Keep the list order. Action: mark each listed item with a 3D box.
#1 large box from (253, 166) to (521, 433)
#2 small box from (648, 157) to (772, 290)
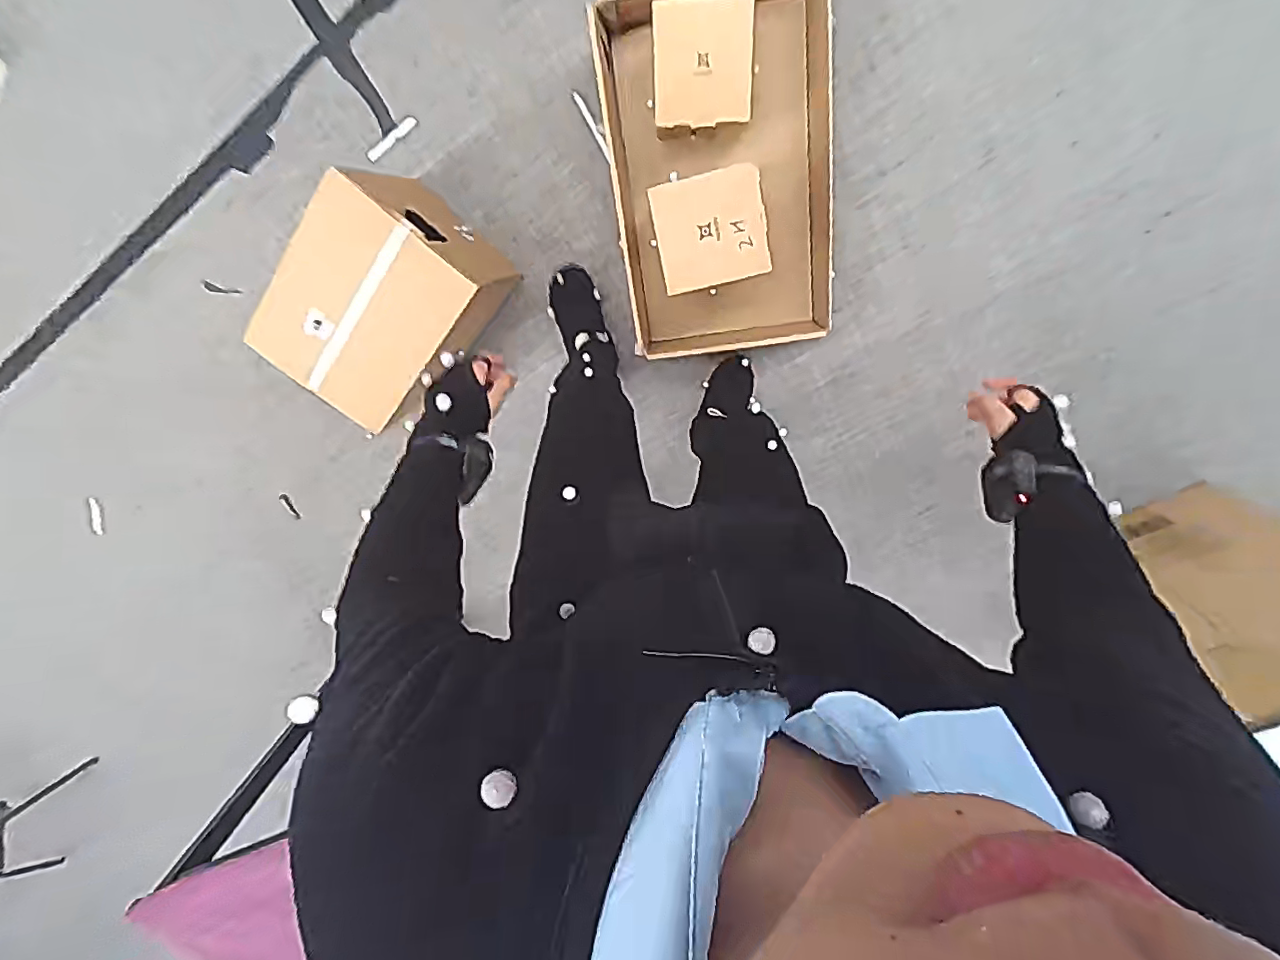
[{"bbox_3d":[-0.521,-0.386,1.168,0.320,0.320,0.408,39,113,-12],"label":"large box"},{"bbox_3d":[0.121,-0.430,0.928,0.179,0.176,0.168,-10,111,9],"label":"small box"}]
